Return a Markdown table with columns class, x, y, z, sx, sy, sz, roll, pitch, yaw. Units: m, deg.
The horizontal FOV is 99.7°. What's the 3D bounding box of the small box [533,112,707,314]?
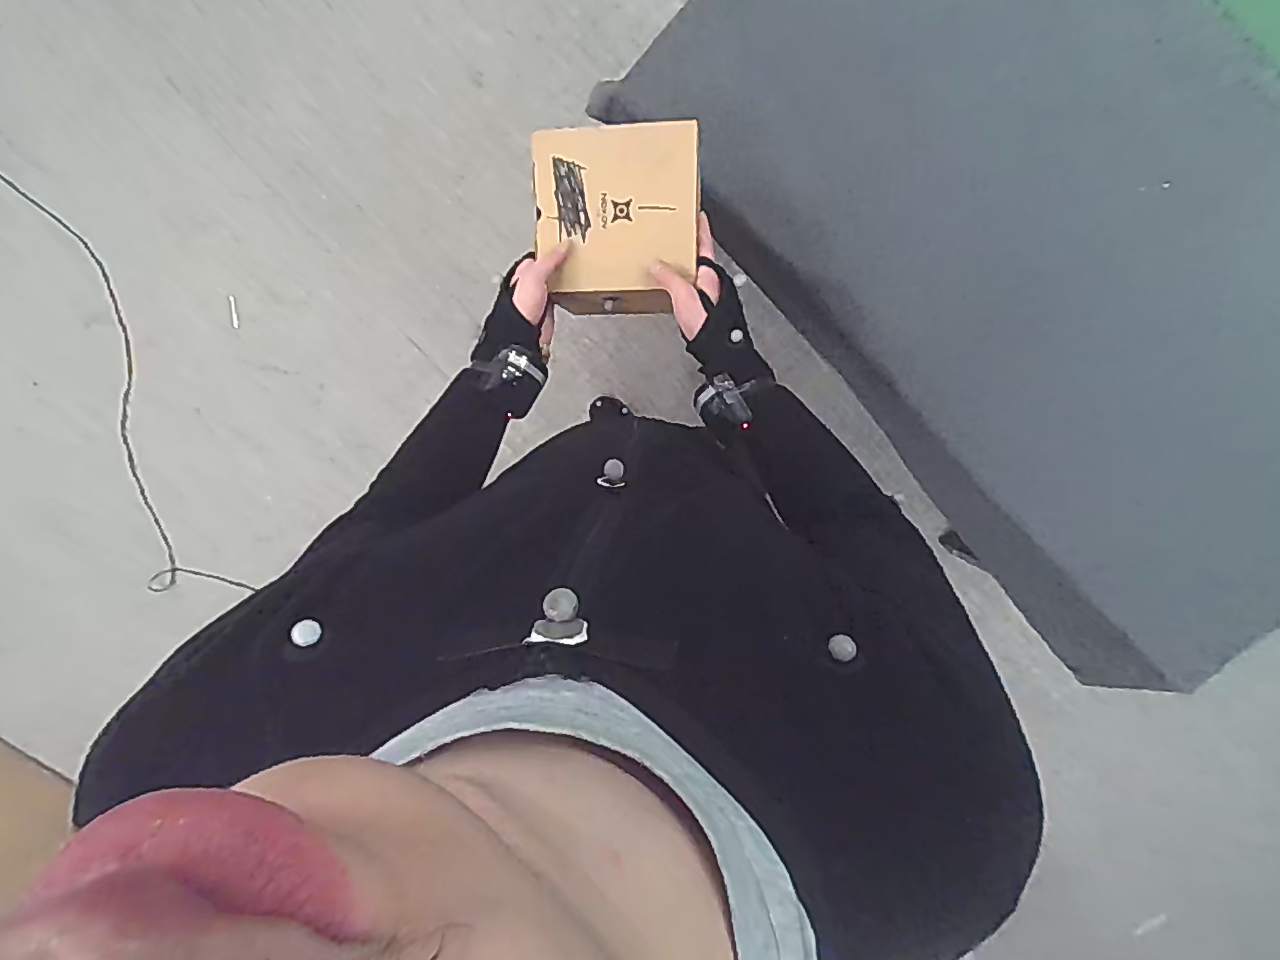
| class | x | y | z | sx | sy | sz | roll | pitch | yaw |
| --- | --- | --- | --- | --- | --- | --- | --- | --- | --- |
| small box | -0.014 | -0.290 | 0.625 | 0.179 | 0.176 | 0.168 | 0 | 98 | 4 |
